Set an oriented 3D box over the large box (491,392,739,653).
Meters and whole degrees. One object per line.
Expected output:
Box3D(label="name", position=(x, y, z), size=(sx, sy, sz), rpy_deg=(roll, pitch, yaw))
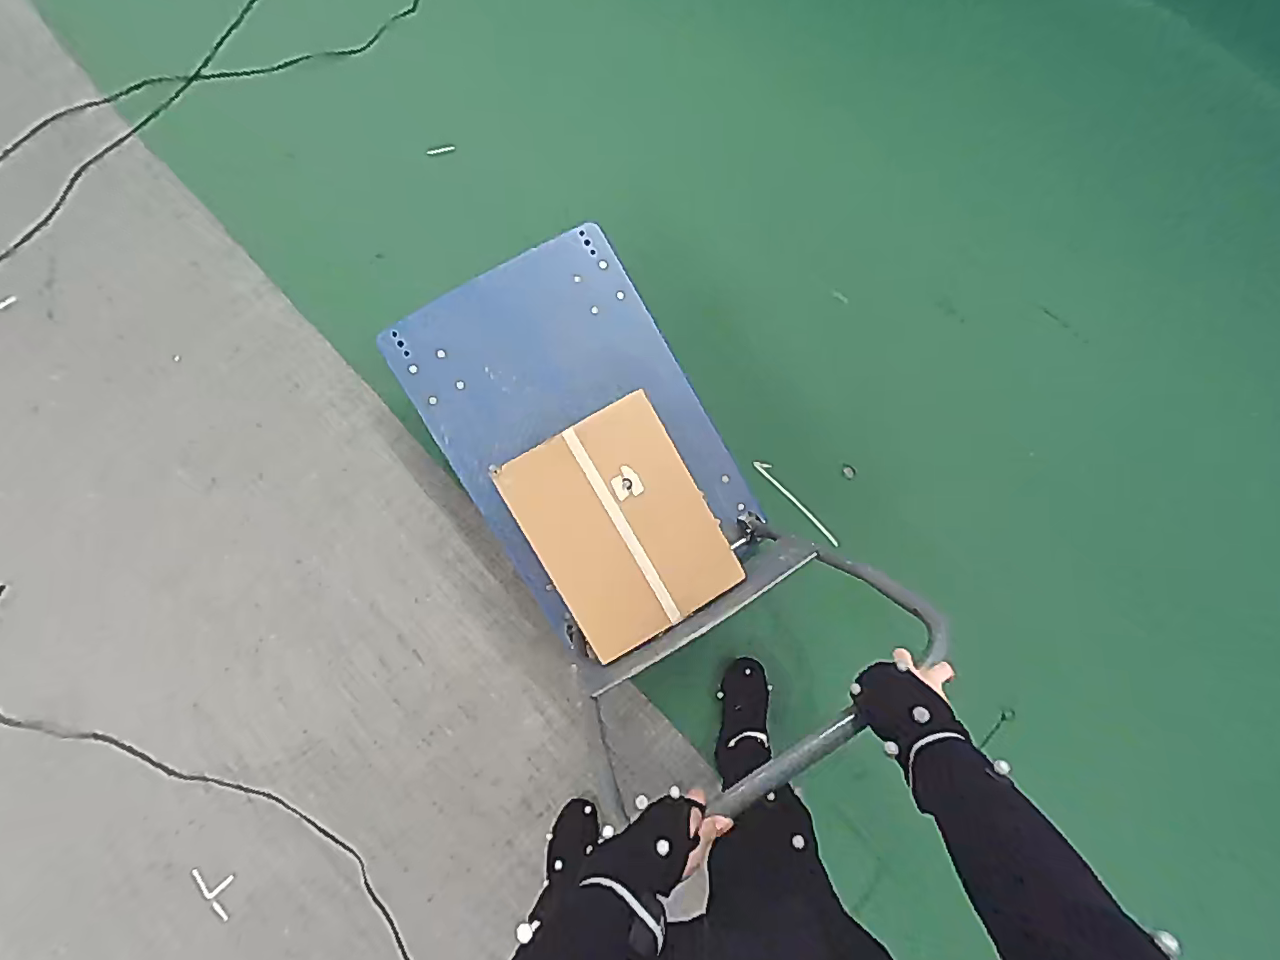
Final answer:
Box3D(label="large box", position=(-0.055, 0.078, 1.147), size=(0.320, 0.320, 0.408), rpy_deg=(-31, 94, -6))
